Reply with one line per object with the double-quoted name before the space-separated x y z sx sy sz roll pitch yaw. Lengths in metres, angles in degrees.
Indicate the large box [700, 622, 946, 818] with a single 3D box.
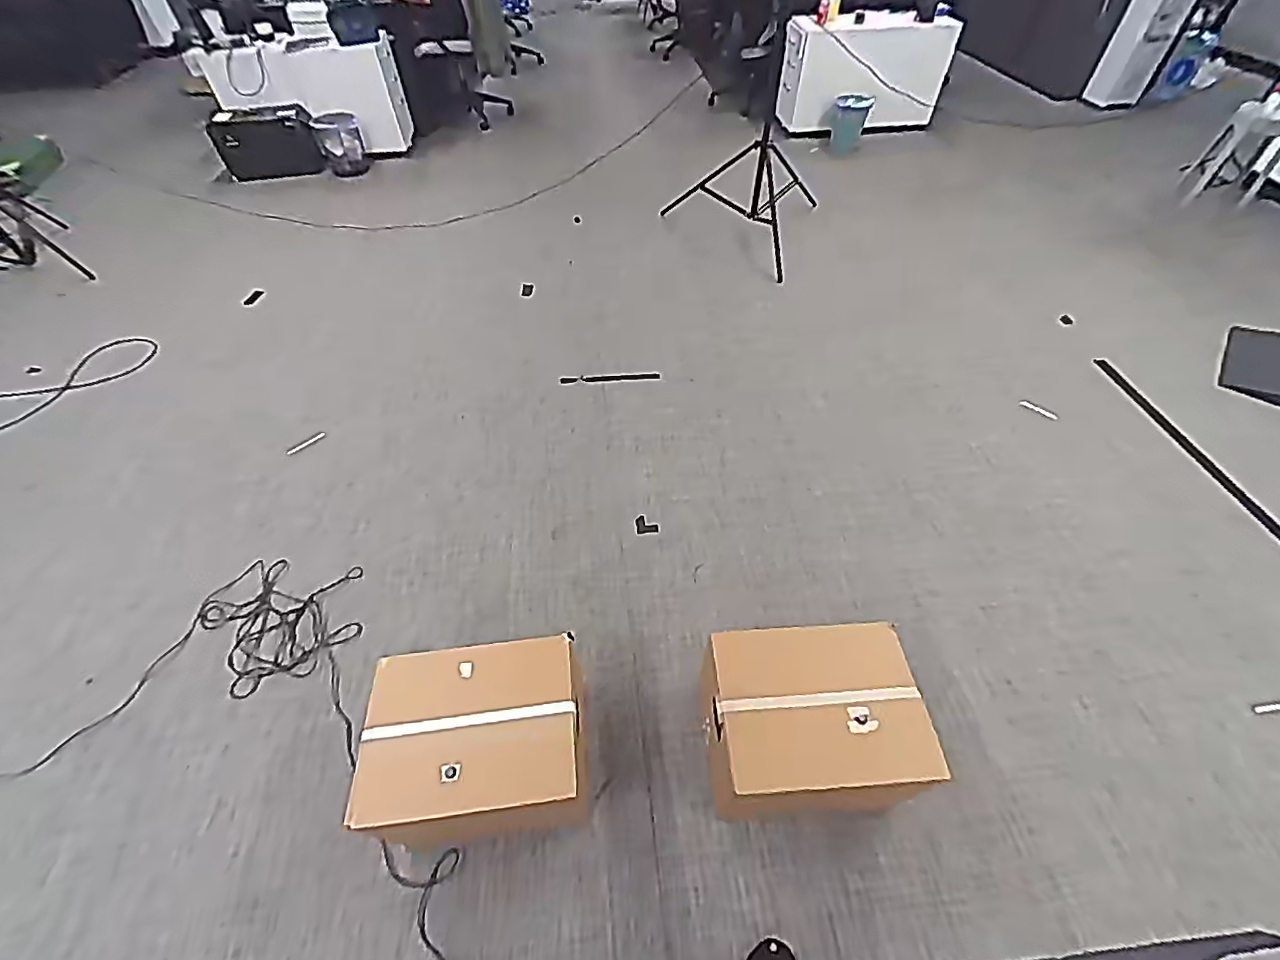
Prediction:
"large box" 0.364 0.537 1.206 0.408 0.320 0.320 -2 51 -2
